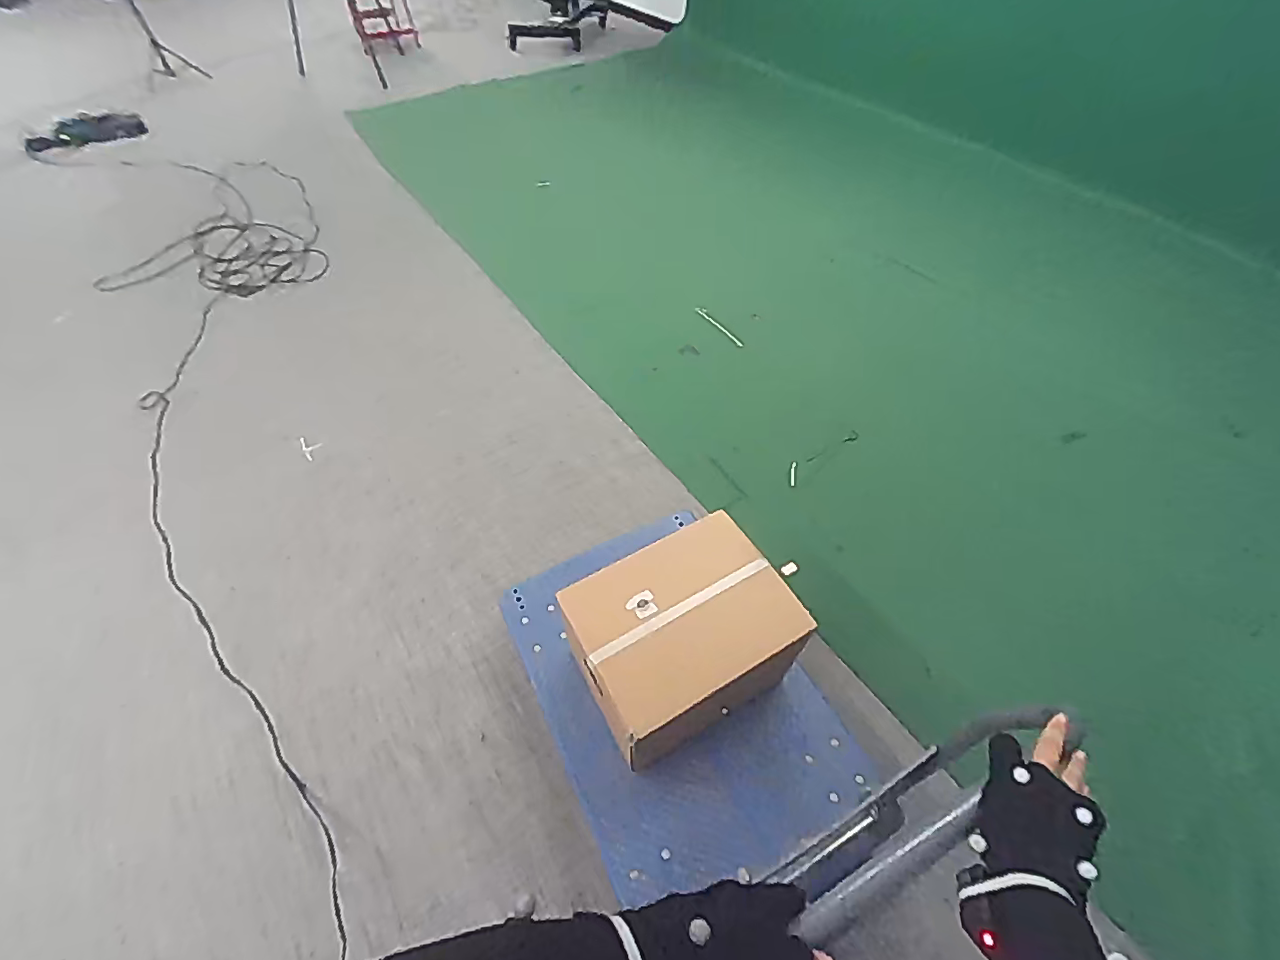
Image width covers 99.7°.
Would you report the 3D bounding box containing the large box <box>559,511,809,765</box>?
[{"bbox_3d":[0.085,0.341,1.172,0.408,0.320,0.320,-26,57,-18],"label":"large box"}]
